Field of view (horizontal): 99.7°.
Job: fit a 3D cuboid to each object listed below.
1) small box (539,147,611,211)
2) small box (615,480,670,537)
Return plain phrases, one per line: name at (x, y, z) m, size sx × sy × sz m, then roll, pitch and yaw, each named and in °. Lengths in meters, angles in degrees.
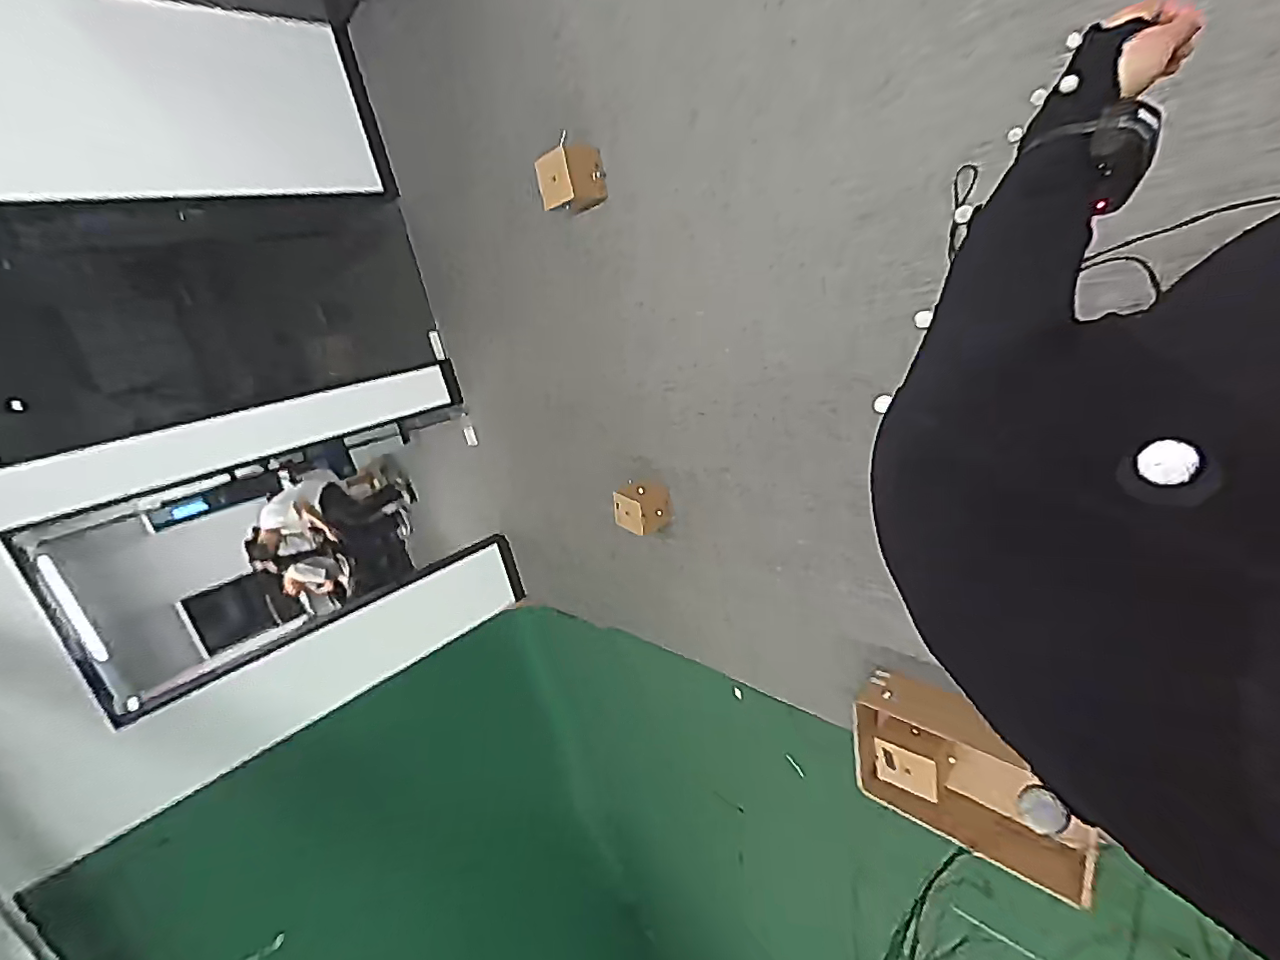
small box at (-0.234, -1.084, 1.956) m, size 0.179 × 0.176 × 0.168 m, roll 7°, pitch 116°, yaw 46°
small box at (0.018, 0.117, 2.333) m, size 0.179 × 0.176 × 0.168 m, roll 21°, pitch 125°, yaw 40°
